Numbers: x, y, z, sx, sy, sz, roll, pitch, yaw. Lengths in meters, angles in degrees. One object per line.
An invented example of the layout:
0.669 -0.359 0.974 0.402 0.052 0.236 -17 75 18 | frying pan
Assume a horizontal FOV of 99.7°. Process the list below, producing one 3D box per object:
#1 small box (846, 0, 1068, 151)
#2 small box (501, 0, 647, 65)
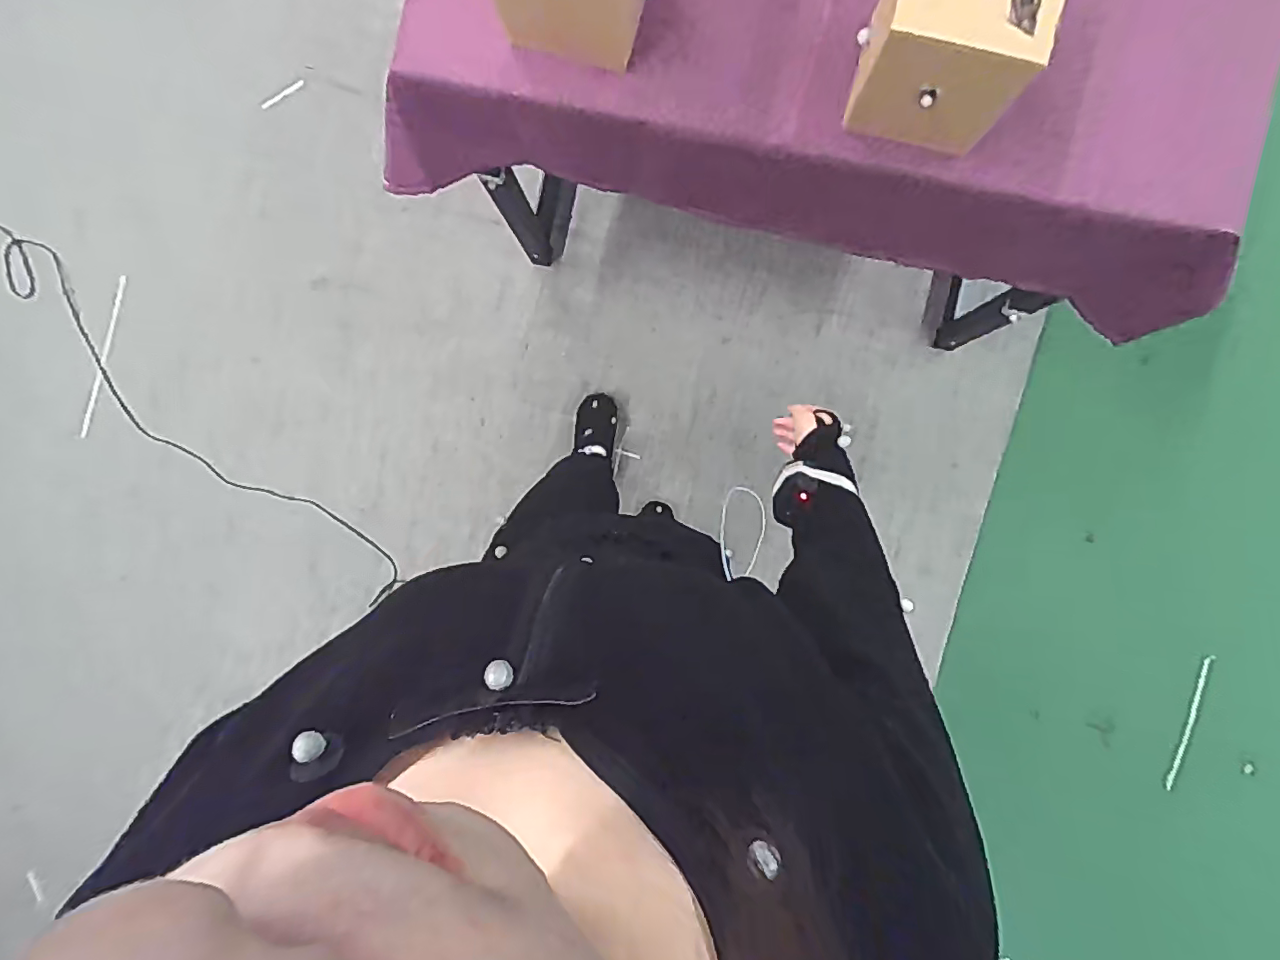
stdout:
0.382 -0.543 0.664 0.179 0.176 0.168 16 91 4 | small box
-0.084 -0.678 0.685 0.179 0.176 0.168 17 91 2 | small box
